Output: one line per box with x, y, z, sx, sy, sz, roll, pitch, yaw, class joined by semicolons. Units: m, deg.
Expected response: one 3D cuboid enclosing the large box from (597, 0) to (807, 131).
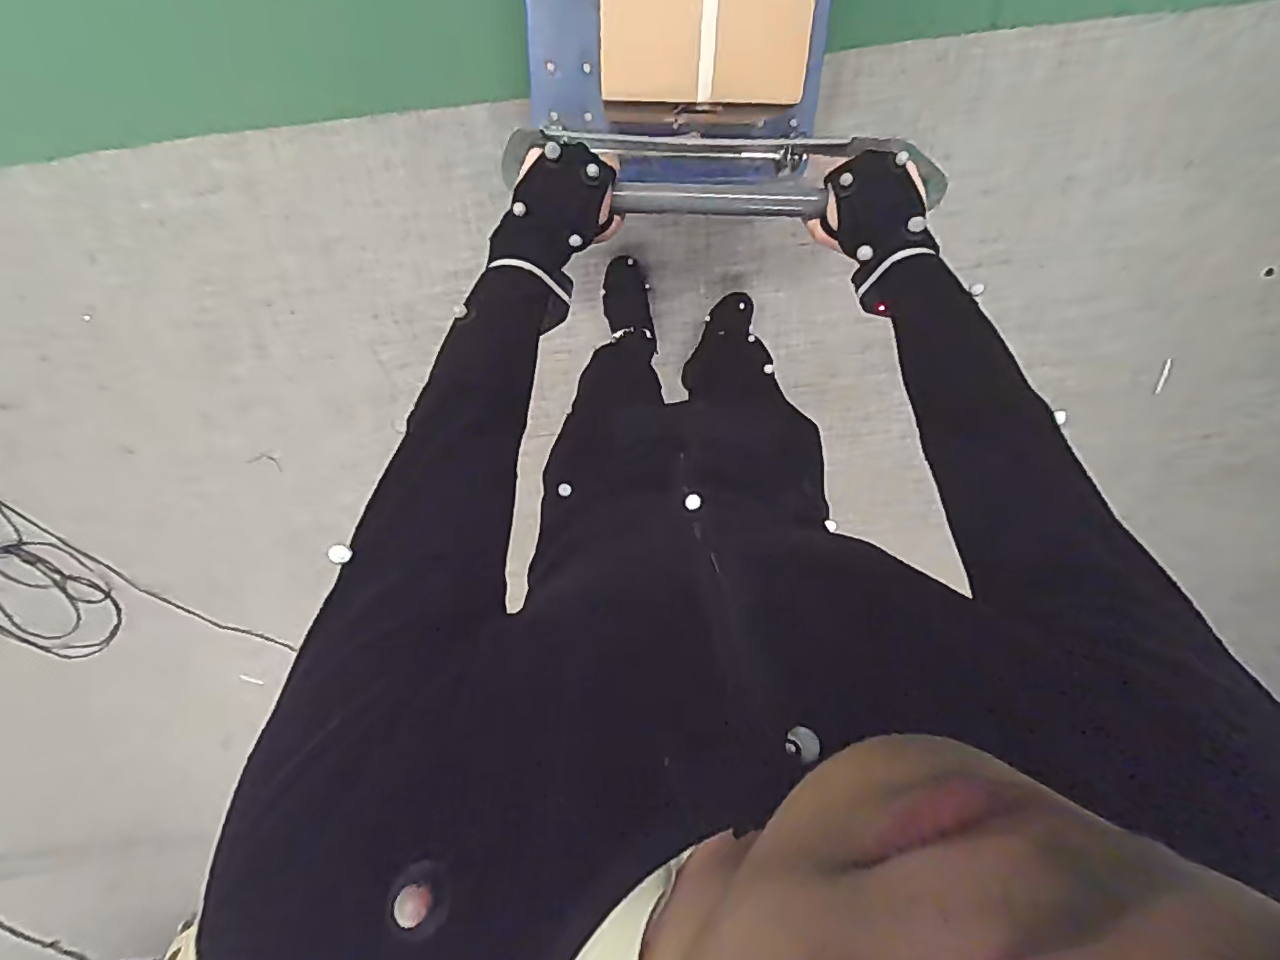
0.091;-0.829;0.893;0.320;0.320;0.408;0;118;-2;large box
